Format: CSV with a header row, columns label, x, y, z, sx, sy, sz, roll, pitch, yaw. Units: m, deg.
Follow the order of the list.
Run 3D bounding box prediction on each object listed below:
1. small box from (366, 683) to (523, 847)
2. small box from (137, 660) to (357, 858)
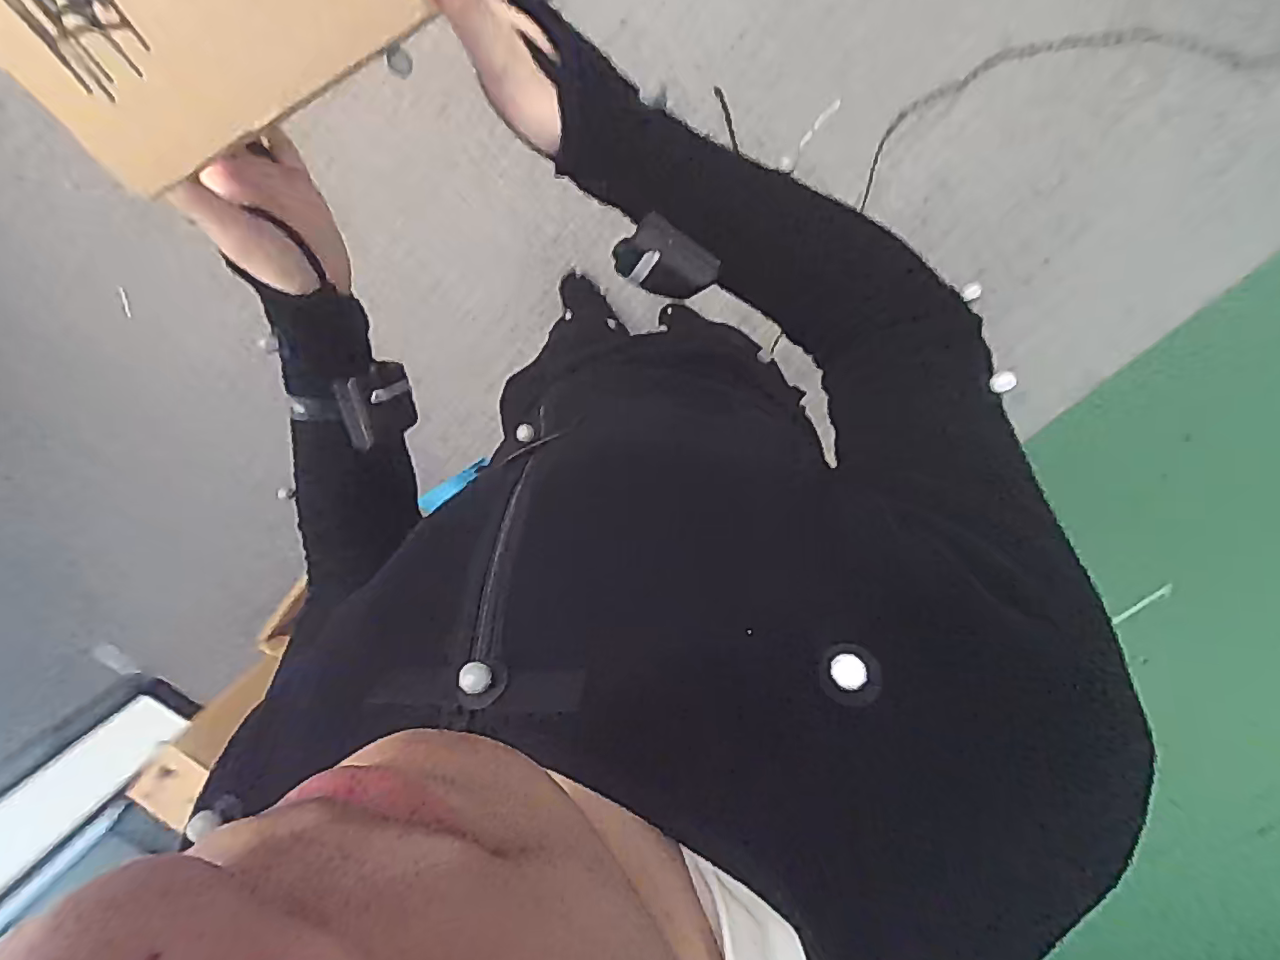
label,x,y,z,sx,sy,sz,roll,pitch,yaw
small box,-0.346,0.513,0.988,0.179,0.176,0.168,42,113,-7
small box,-0.568,0.407,0.805,0.179,0.176,0.168,43,112,-10
